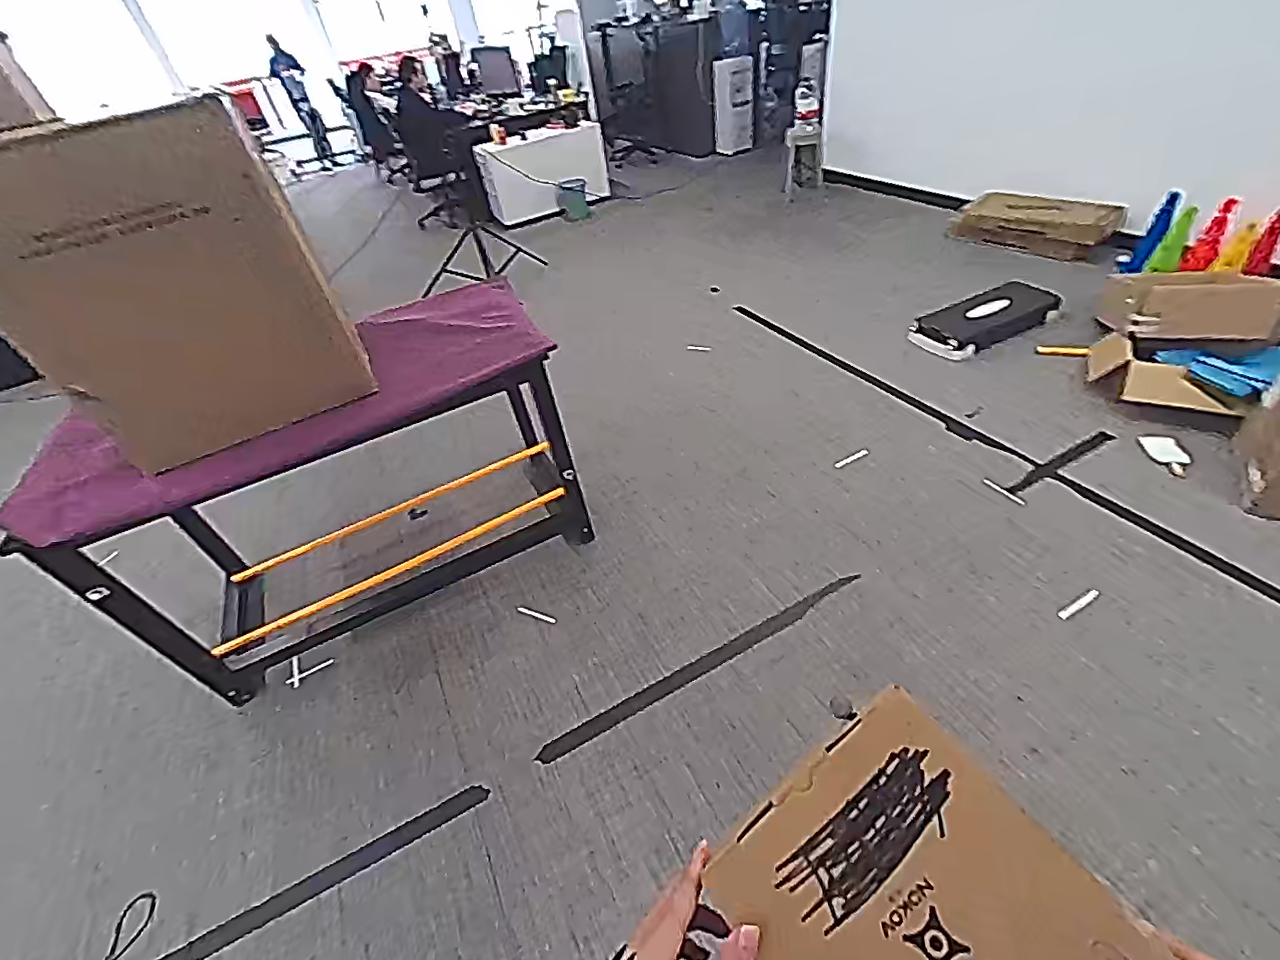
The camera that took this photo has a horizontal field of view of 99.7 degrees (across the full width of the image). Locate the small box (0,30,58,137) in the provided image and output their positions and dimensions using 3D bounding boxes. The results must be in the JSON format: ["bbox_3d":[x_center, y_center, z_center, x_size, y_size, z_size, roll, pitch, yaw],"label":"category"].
[{"bbox_3d":[-1.216,-0.717,0.968,0.168,0.176,0.179,-26,44,-17],"label":"small box"}]
